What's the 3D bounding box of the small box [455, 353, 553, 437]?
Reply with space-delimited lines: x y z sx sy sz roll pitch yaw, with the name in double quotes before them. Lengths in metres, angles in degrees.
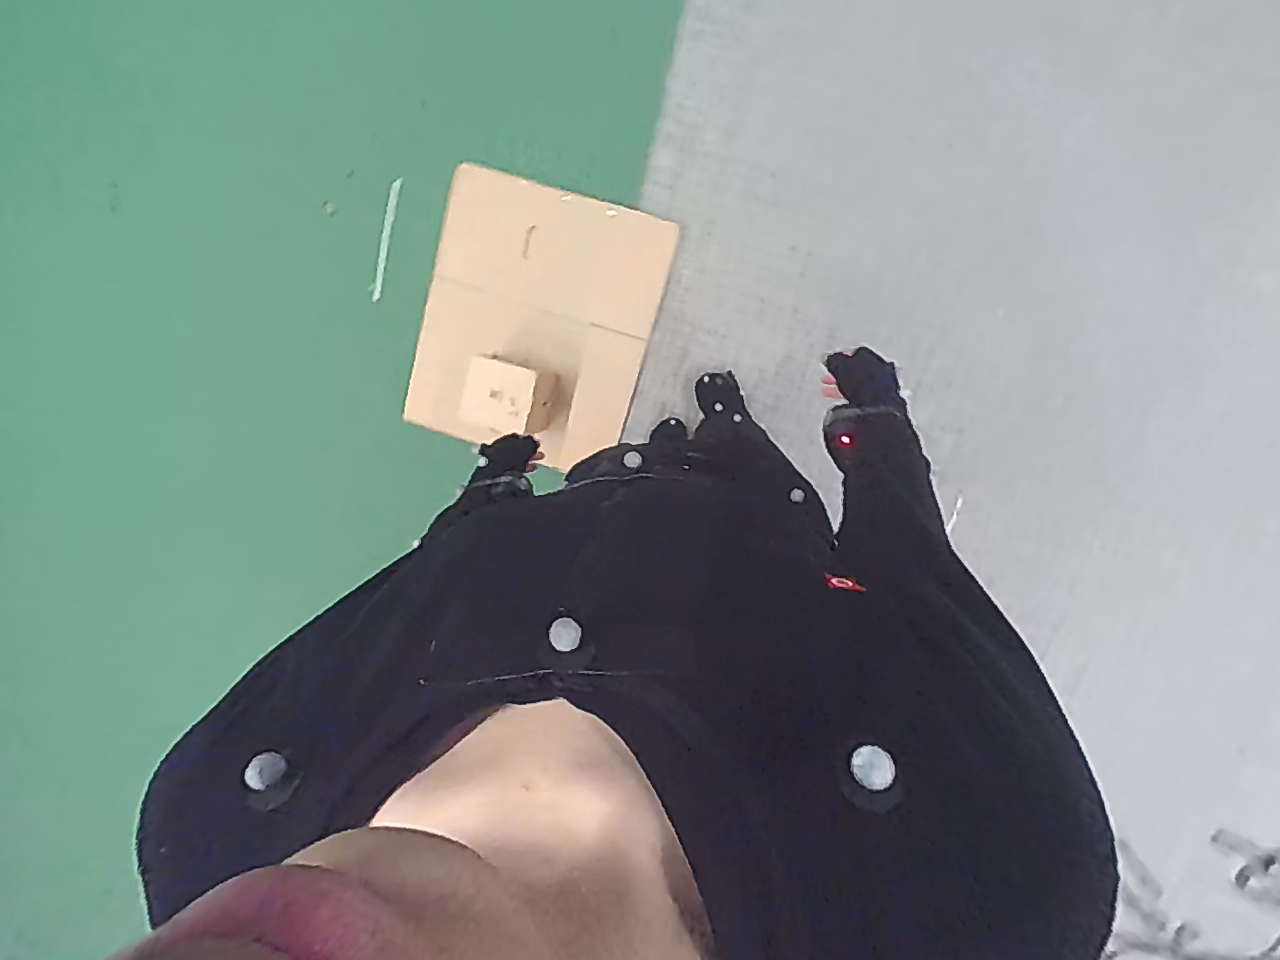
"small box" -0.341 -0.218 1.382 0.179 0.176 0.168 16 103 4
